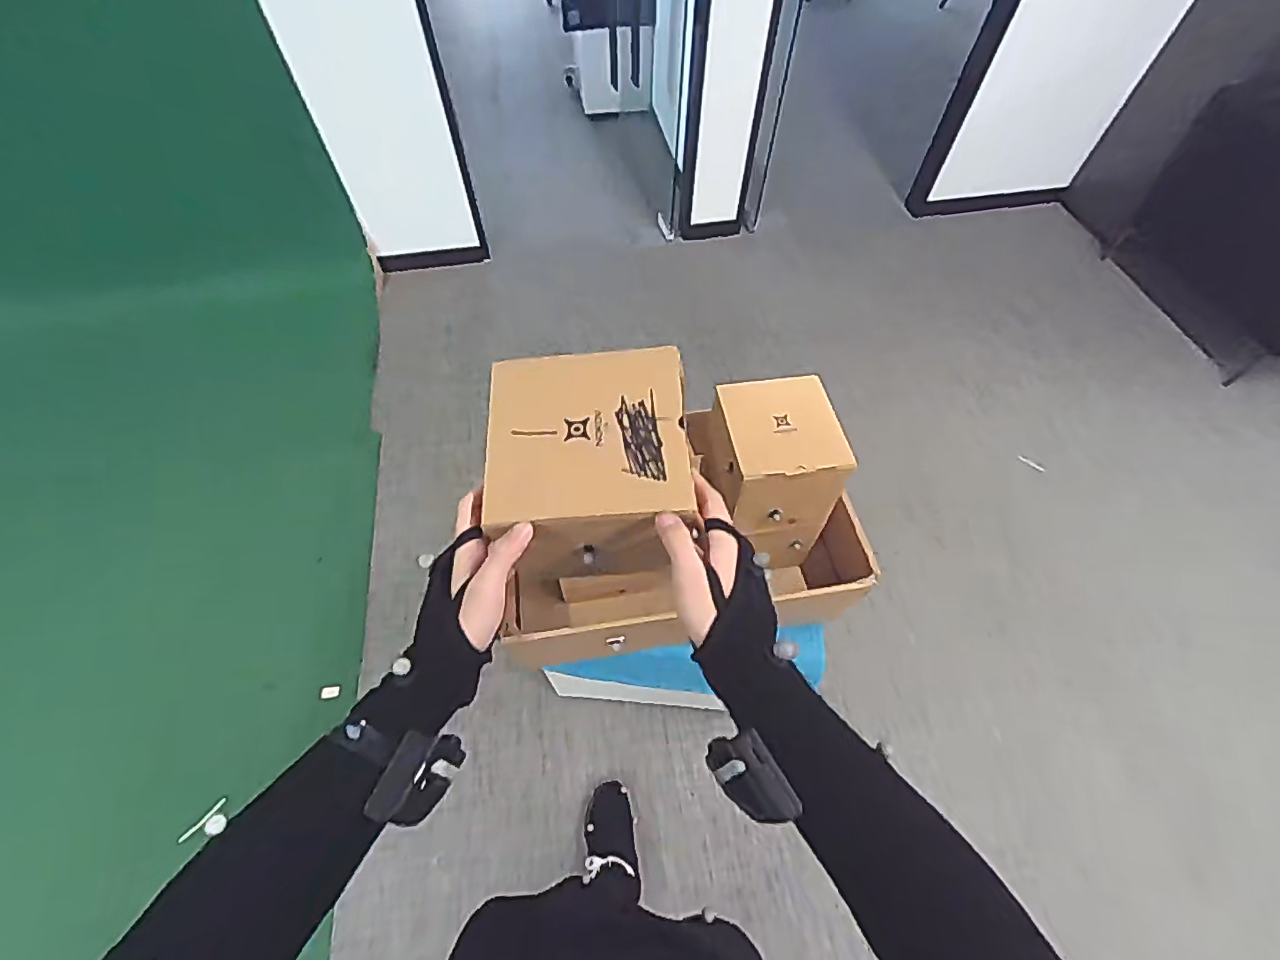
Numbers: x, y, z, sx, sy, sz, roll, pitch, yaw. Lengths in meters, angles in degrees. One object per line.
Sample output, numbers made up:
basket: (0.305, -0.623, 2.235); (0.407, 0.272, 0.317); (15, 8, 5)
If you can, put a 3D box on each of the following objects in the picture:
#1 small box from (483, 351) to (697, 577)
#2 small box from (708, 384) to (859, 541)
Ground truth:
small box: (-0.043, -0.007, 0.542); (0.179, 0.176, 0.168); (-4, 63, 0)
small box: (0.210, -0.025, 0.851); (0.168, 0.176, 0.179); (-7, 56, -5)
